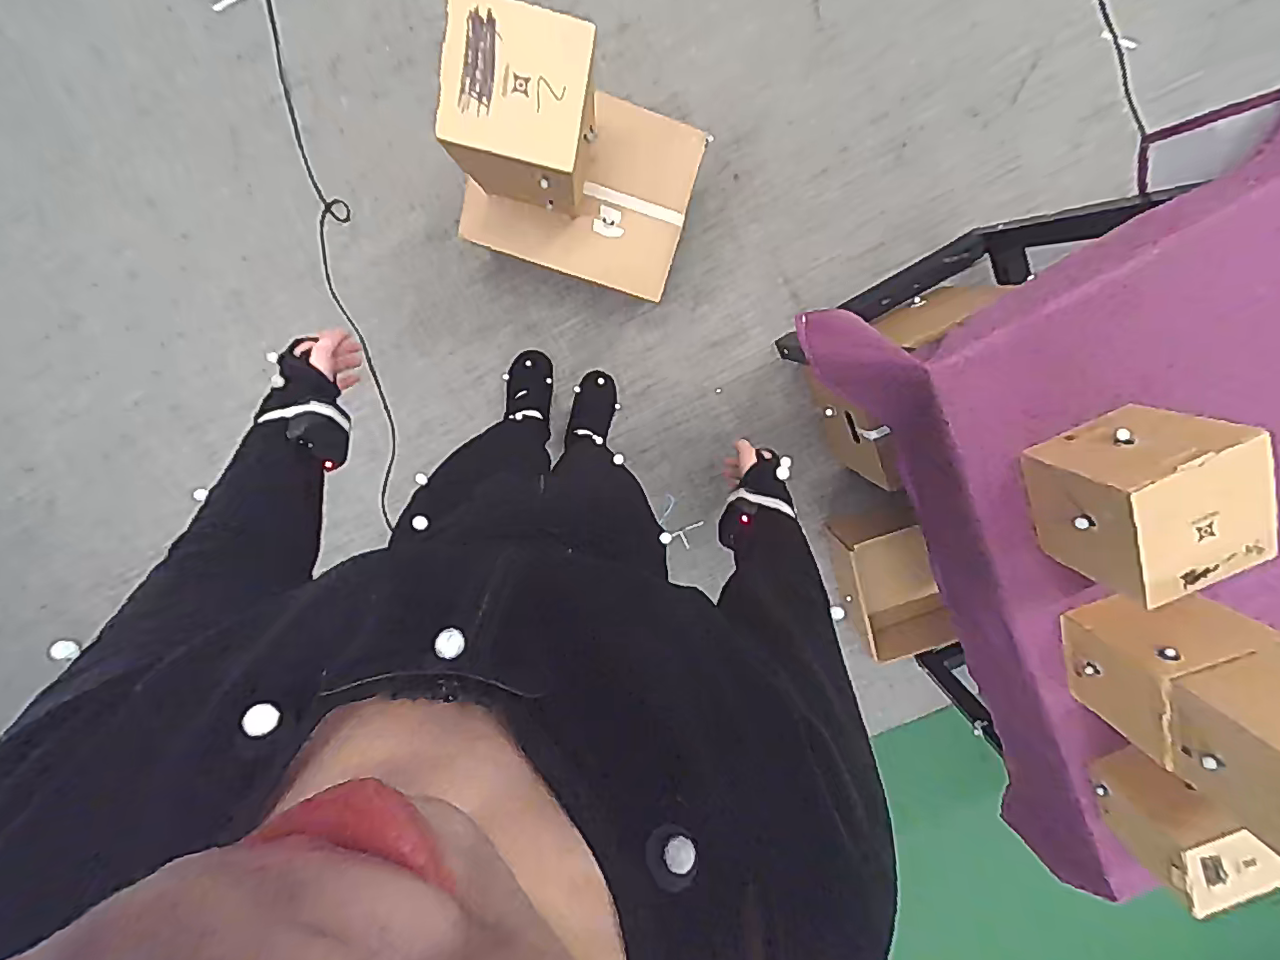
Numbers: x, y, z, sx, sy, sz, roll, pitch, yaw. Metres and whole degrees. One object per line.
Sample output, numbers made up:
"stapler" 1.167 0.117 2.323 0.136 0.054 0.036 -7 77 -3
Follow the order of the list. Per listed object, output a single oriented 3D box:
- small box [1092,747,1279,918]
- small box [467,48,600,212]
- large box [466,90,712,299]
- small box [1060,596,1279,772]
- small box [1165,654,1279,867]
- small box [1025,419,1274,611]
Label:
"small box" 0.900 0.562 0.900 0.179 0.176 0.168 -25 108 3
"small box" -0.168 -0.558 0.891 0.179 0.176 0.168 12 106 -8
"large box" -0.112 -0.594 1.142 0.408 0.320 0.320 15 108 -10
"small box" 0.775 0.283 0.801 0.179 0.176 0.168 -20 108 3
"small box" 0.794 0.333 0.645 0.179 0.176 0.168 -19 108 3
"small box" 0.647 0.032 0.706 0.168 0.176 0.179 -24 108 4
